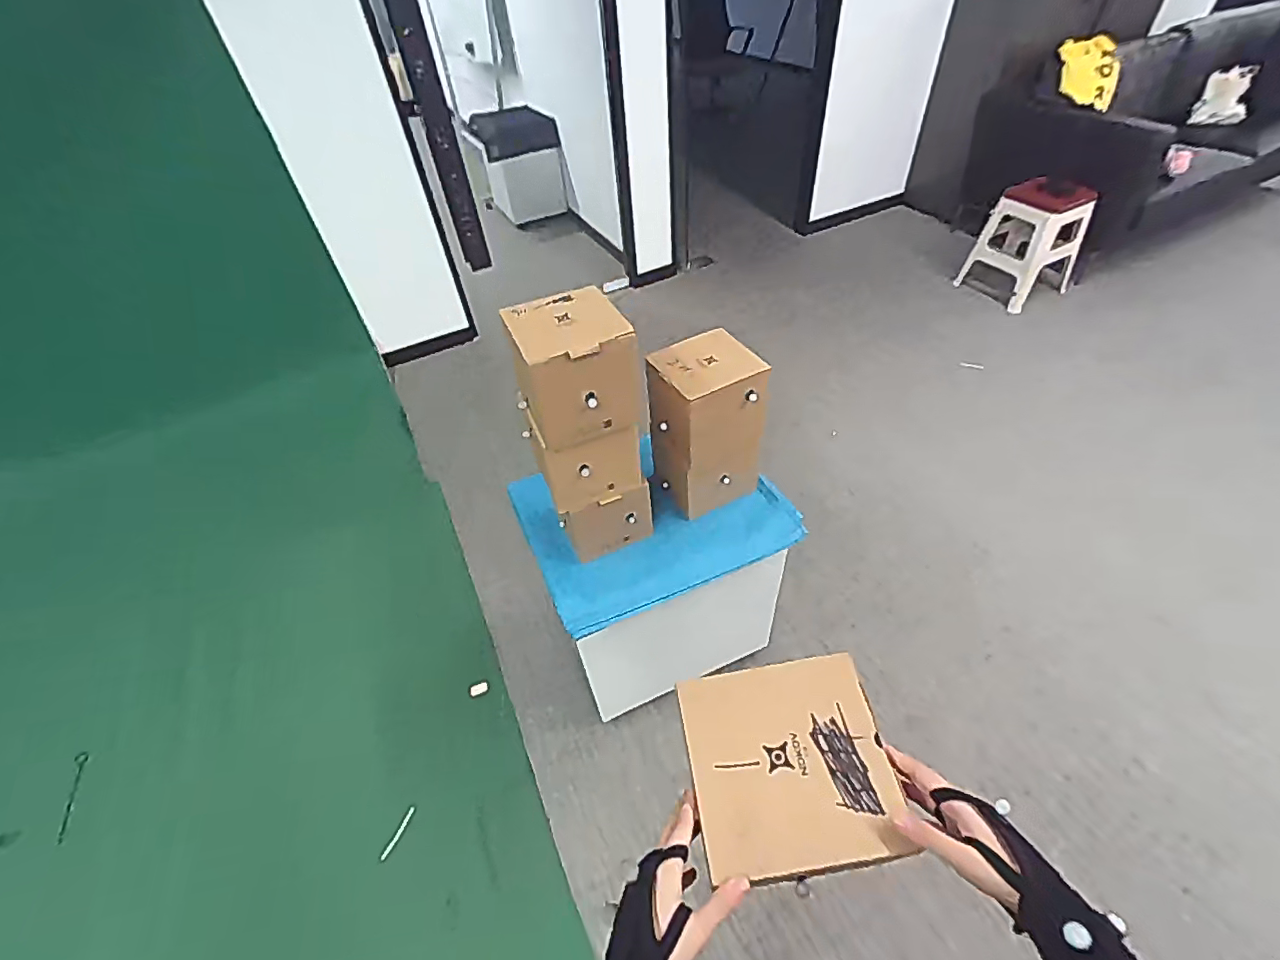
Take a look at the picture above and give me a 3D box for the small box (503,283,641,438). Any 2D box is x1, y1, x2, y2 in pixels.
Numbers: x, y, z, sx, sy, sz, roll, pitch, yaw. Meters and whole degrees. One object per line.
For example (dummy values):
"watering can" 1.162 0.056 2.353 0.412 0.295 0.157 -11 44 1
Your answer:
"small box" -0.105 -0.186 0.869 0.168 0.176 0.179 -19 47 -13

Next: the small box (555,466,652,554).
"small box" -0.082 0.030 1.112 0.168 0.176 0.179 -19 47 -14

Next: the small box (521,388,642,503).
"small box" -0.104 -0.078 0.992 0.168 0.176 0.179 -19 47 -13

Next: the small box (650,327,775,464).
"small box" 0.134 -0.162 1.043 0.179 0.176 0.168 -23 48 -15
